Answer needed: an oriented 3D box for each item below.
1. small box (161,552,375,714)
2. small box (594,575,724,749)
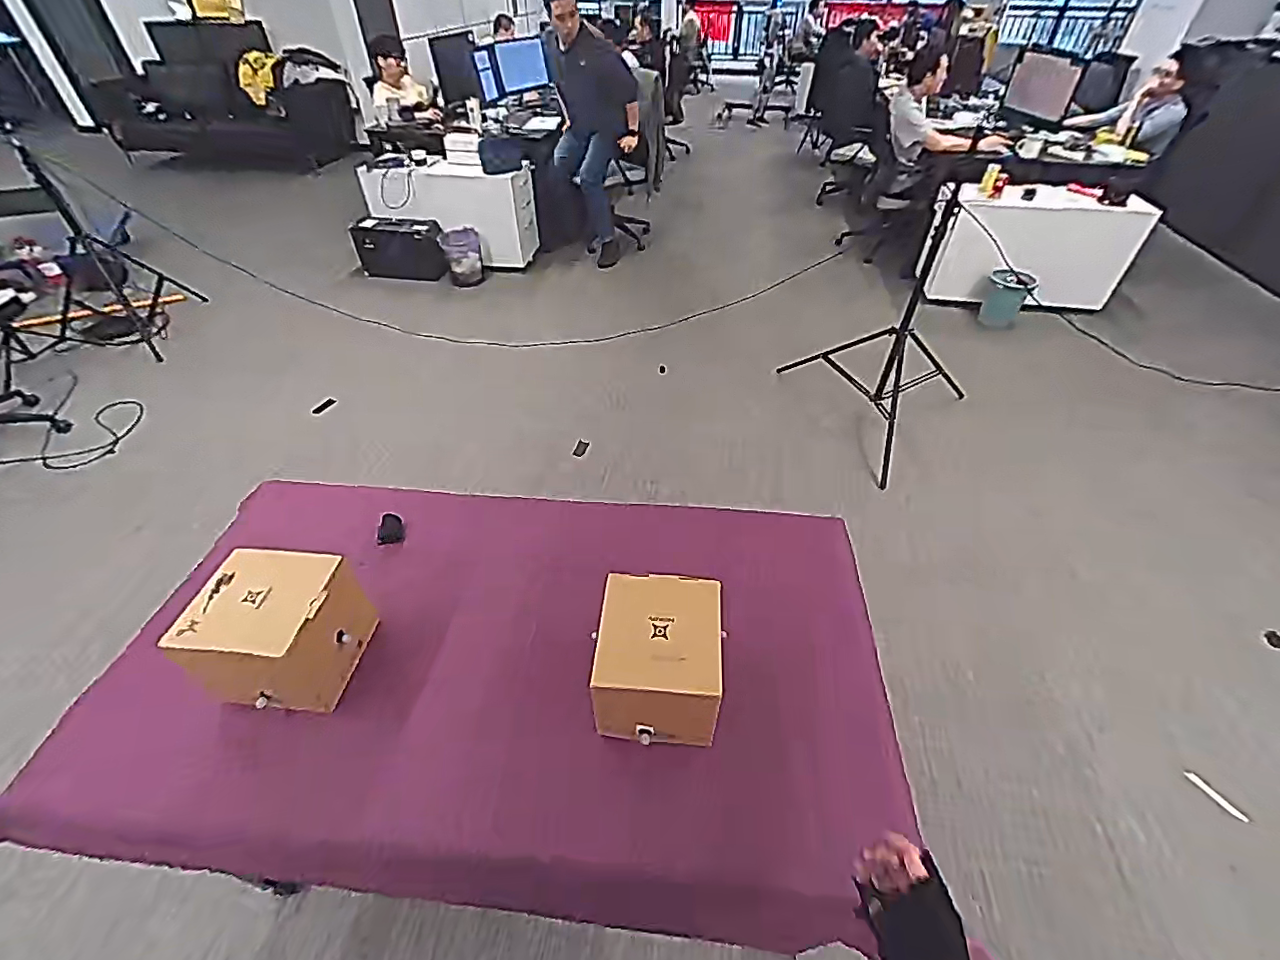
[{"bbox_3d":[-0.531,0.231,0.808,0.179,0.176,0.168,4,43,3],"label":"small box"},{"bbox_3d":[0.030,0.261,0.782,0.168,0.176,0.179,2,44,4],"label":"small box"}]
